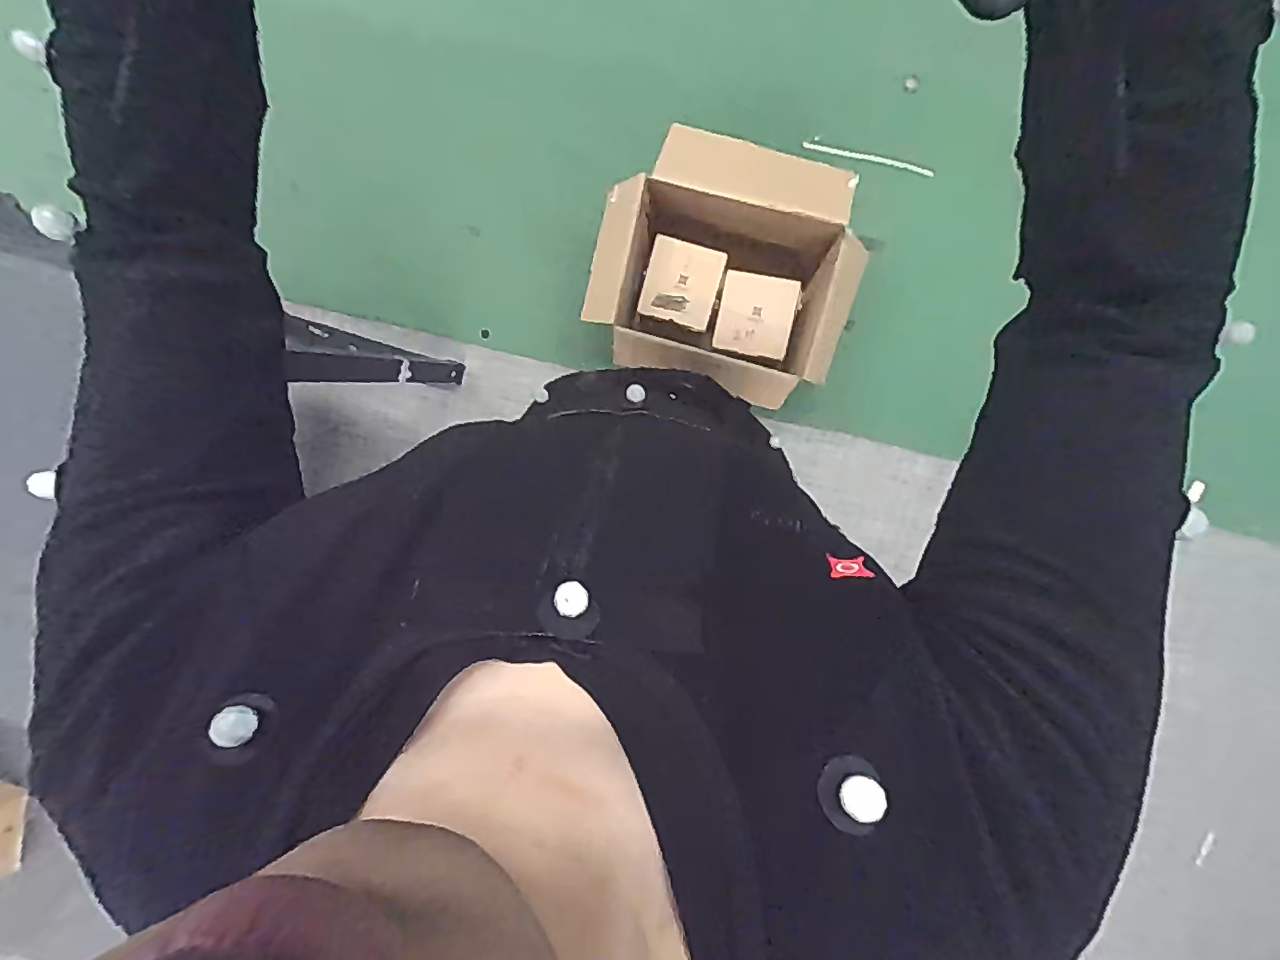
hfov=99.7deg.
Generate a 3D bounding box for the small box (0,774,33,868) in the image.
[{"bbox_3d":[-1.142,0.575,0.853,0.179,0.176,0.168,18,101,0],"label":"small box"}]
